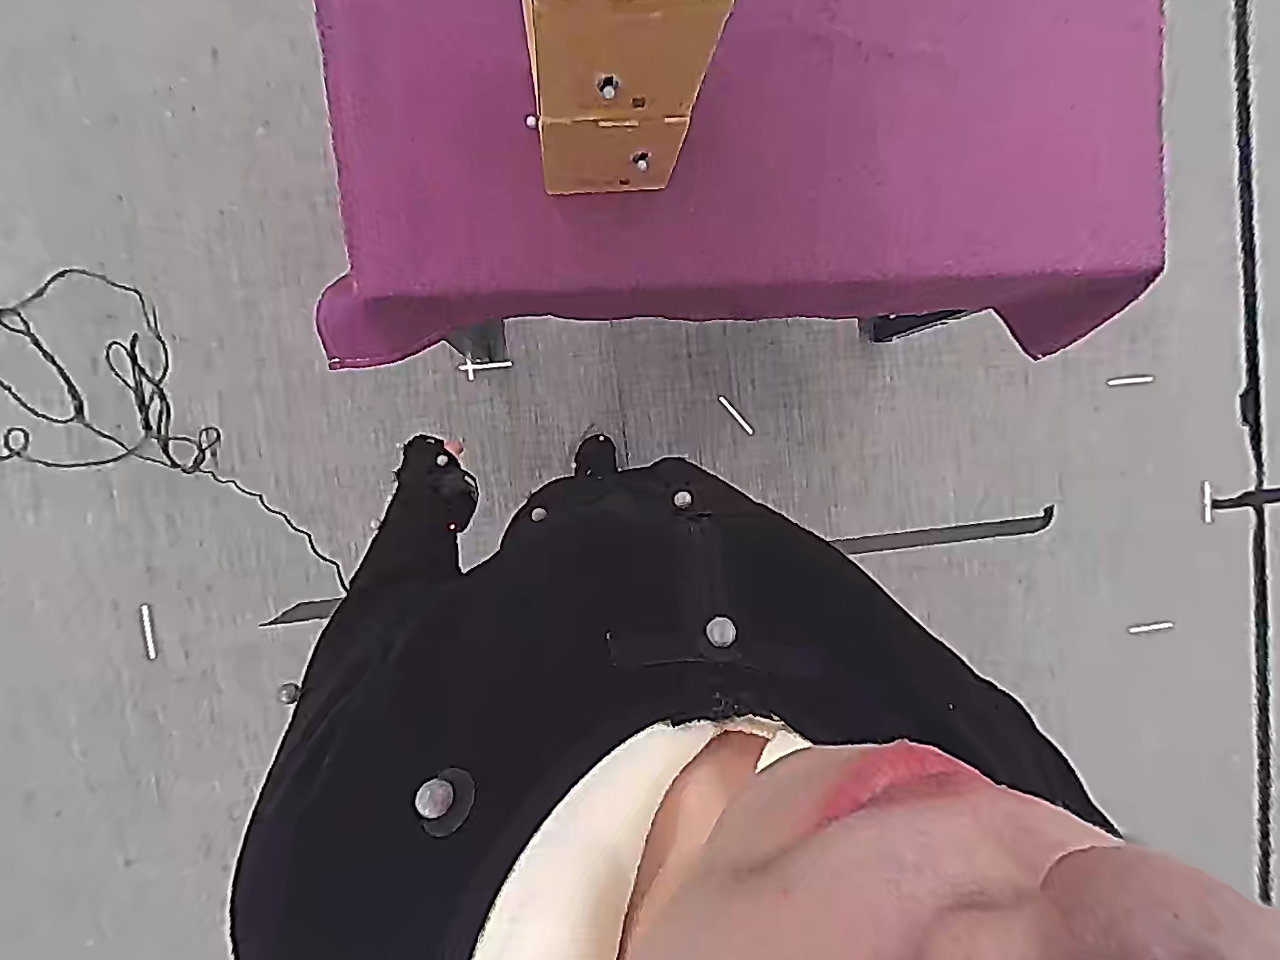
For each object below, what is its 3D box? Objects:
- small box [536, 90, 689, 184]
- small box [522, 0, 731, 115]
[{"bbox_3d":[-0.043,-0.479,0.653,0.168,0.176,0.179,-6,94,-8],"label":"small box"},{"bbox_3d":[-0.025,-0.473,0.492,0.168,0.176,0.179,-9,96,-8],"label":"small box"}]
